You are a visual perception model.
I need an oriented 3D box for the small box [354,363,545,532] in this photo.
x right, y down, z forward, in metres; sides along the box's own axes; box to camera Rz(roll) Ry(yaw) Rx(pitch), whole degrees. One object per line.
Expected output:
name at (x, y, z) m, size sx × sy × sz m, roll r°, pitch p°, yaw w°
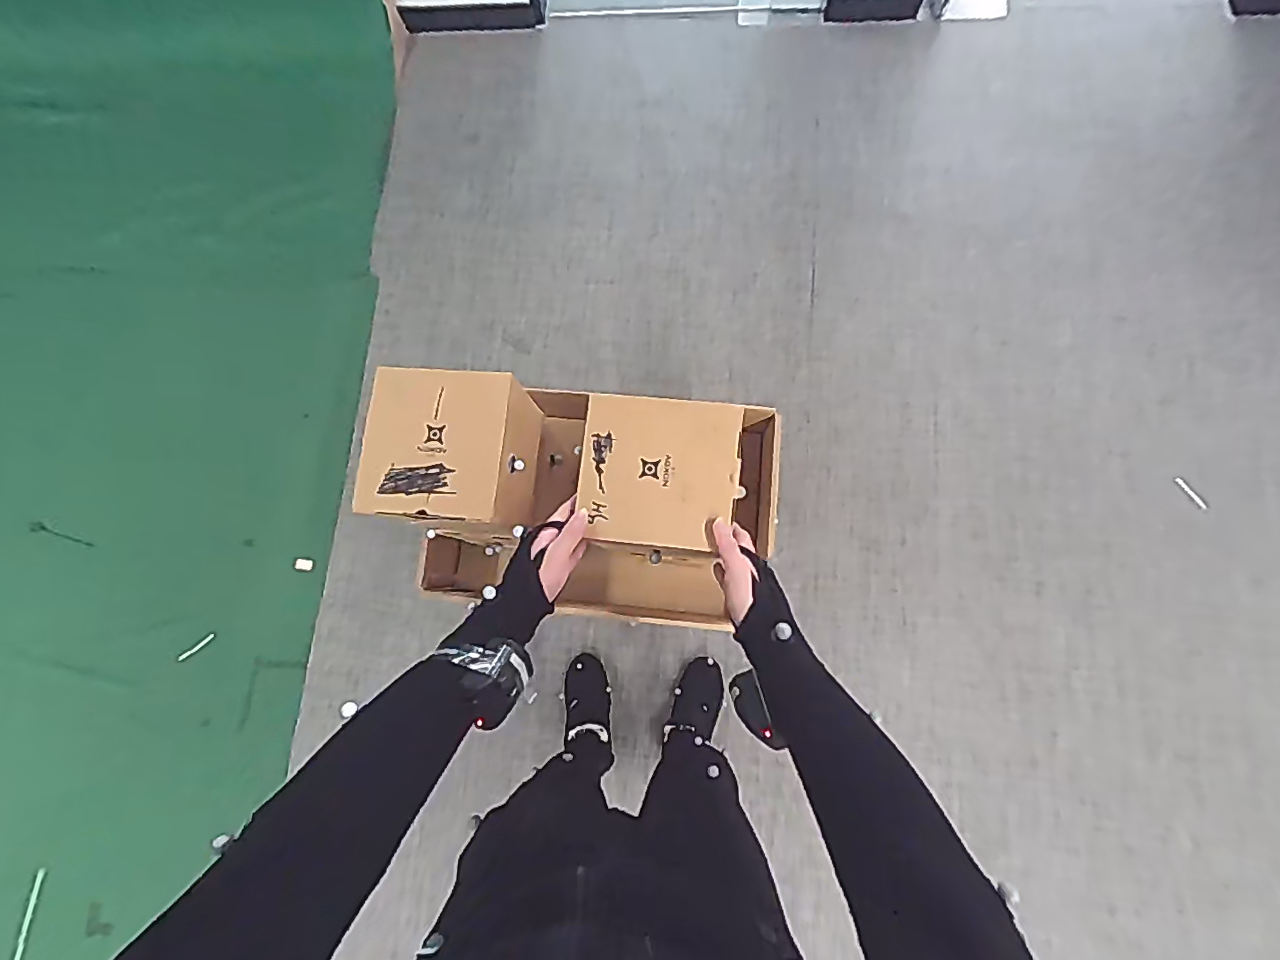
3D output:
small box at (-0.225, -0.030, 0.686) m, size 0.168 × 0.176 × 0.179 m, roll 4°, pitch 79°, yaw 4°

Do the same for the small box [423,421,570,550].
small box at (-0.211, 0.008, 0.845) m, size 0.168 × 0.176 × 0.179 m, roll 6°, pitch 79°, yaw 5°

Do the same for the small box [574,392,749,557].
small box at (0.029, 0.003, 0.666) m, size 0.179 × 0.176 × 0.168 m, roll 6°, pitch 81°, yaw 5°
